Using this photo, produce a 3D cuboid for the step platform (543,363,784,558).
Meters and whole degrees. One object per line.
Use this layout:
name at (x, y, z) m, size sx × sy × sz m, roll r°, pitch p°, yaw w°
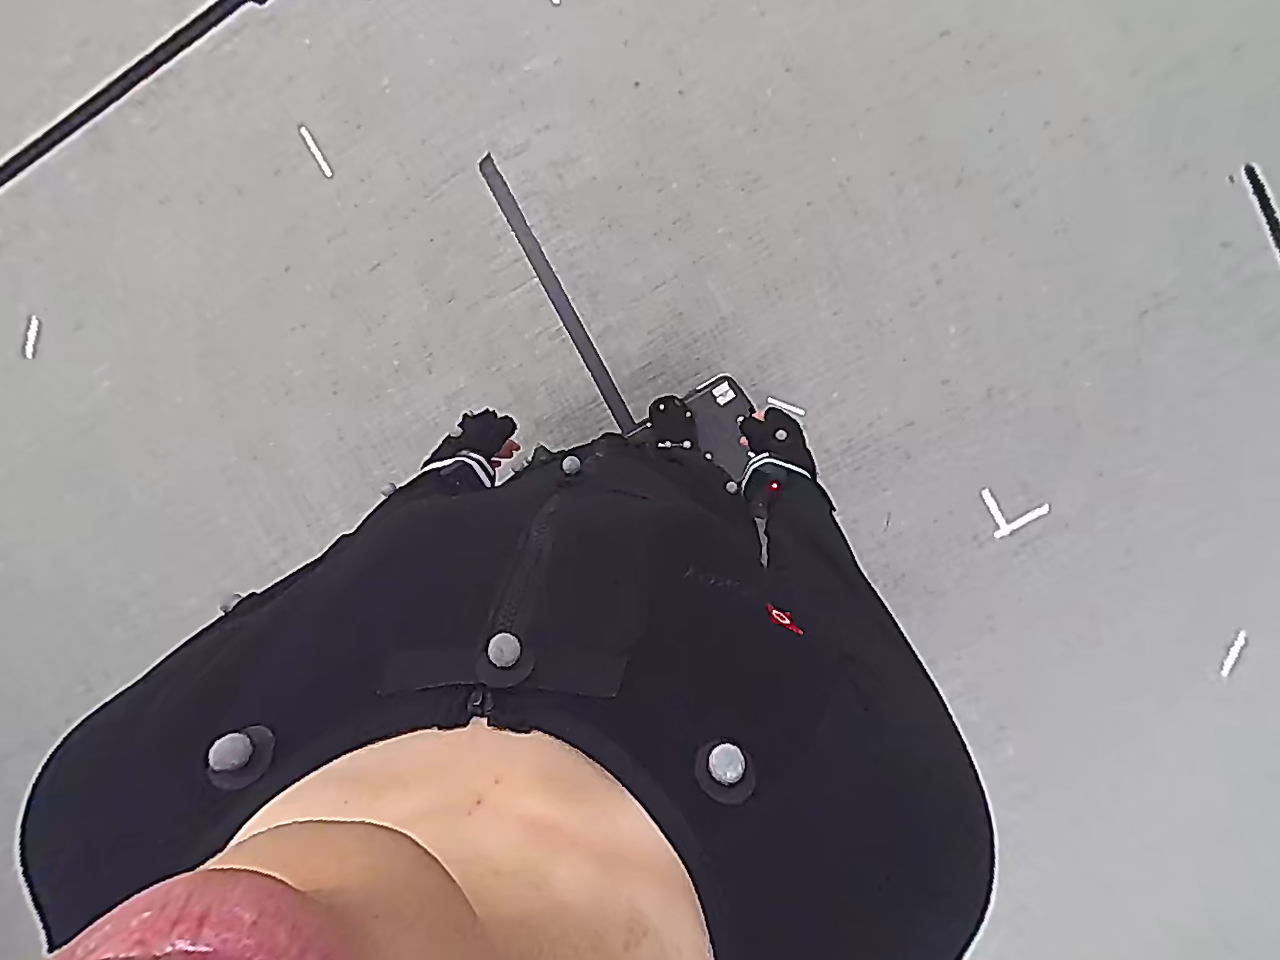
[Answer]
step platform at (0.062, -0.054, 1.564) m, size 0.684 × 0.204 × 0.286 m, roll -31°, pitch 96°, yaw 5°
